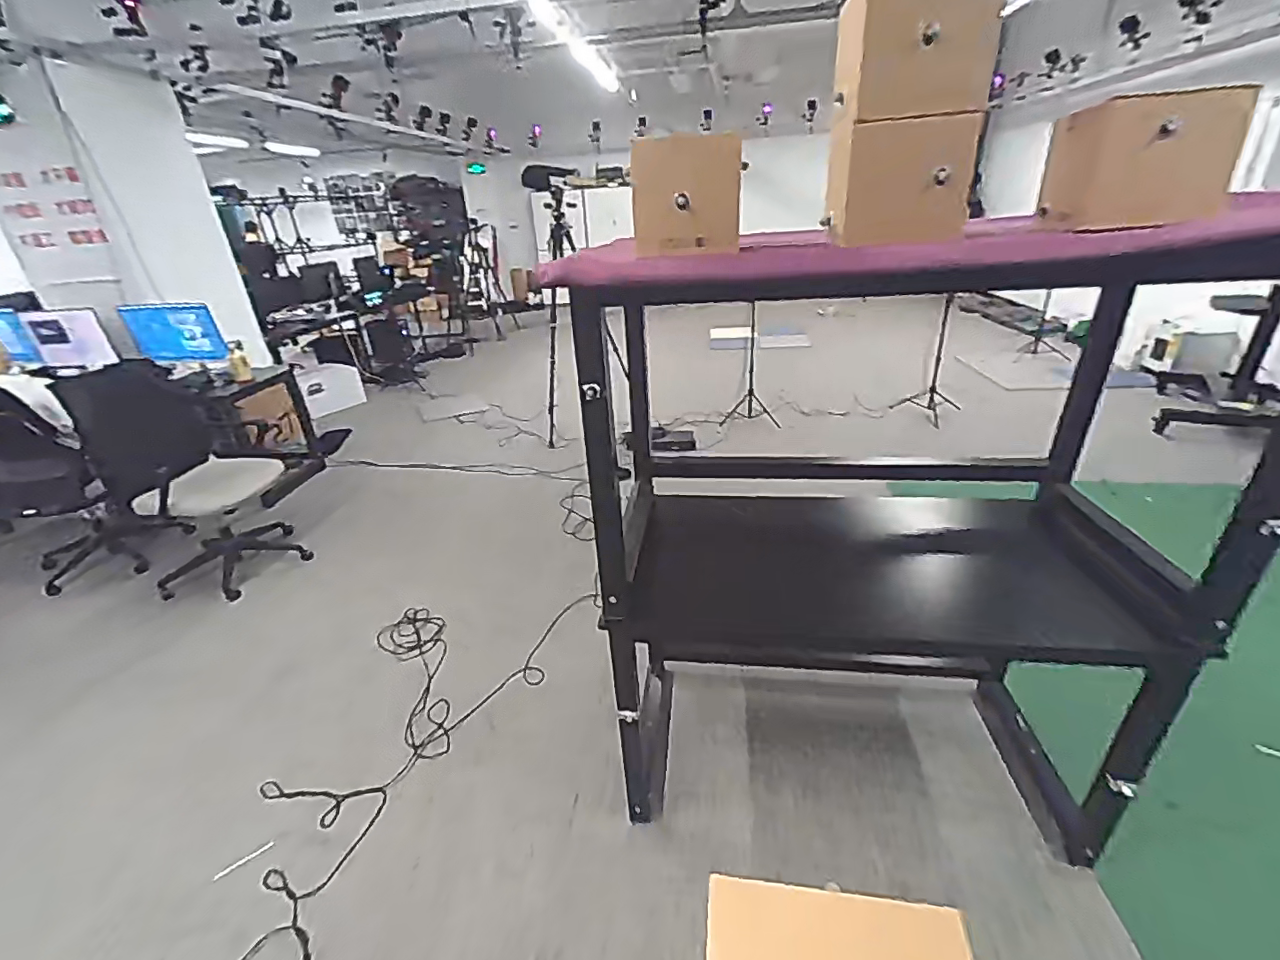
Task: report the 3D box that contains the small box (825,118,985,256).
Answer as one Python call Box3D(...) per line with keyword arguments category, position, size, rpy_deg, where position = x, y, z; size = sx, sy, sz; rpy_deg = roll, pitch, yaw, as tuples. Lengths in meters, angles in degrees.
Box3D(category="small box", position=(0.401, -0.456, 0.854), size=(0.179, 0.176, 0.168), rpy_deg=(-1, 26, 8))

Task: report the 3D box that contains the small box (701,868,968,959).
Box3D(category="small box", position=(0.132, 0.408, 0.379), size=(0.179, 0.176, 0.168), rpy_deg=(1, 37, 9))

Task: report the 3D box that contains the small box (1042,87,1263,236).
Box3D(category="small box", position=(0.749, -0.467, 0.821), size=(0.179, 0.176, 0.168), rpy_deg=(1, 25, 10))

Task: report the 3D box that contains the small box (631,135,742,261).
Box3D(category="small box", position=(0.082, -0.458, 0.892), size=(0.168, 0.176, 0.179), rpy_deg=(1, 27, 7))
